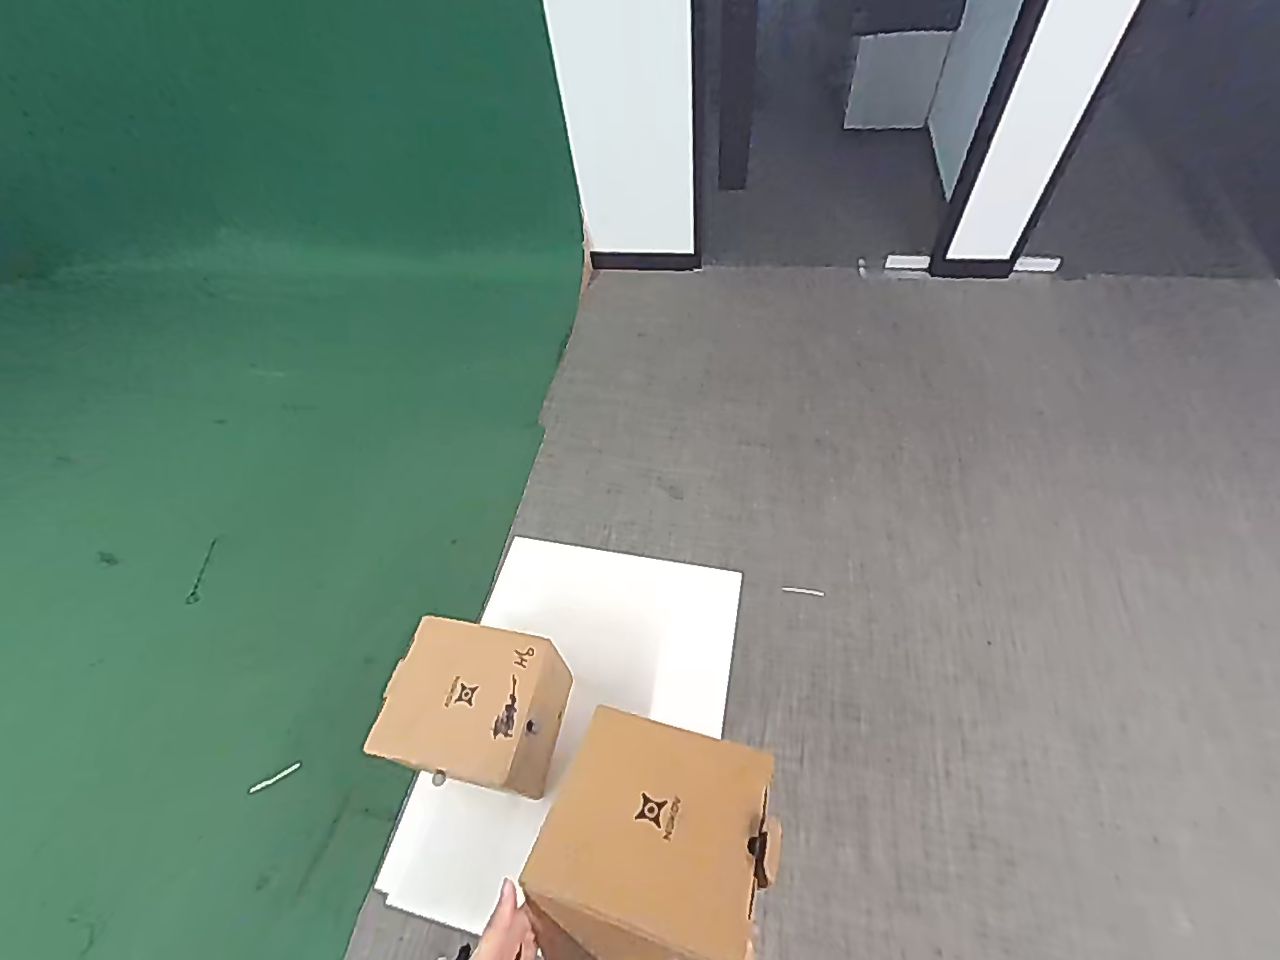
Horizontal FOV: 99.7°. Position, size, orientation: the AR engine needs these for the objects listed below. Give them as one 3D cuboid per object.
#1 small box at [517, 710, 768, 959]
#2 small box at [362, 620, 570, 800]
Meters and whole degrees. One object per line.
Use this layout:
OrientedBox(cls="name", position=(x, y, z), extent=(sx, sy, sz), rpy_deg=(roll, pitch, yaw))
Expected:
OrientedBox(cls="small box", position=(0.012, 0.352, 0.498), extent=(0.179, 0.176, 0.168), rpy_deg=(9, 33, 16))
OrientedBox(cls="small box", position=(-0.206, 0.300, 0.698), extent=(0.179, 0.176, 0.168), rpy_deg=(7, 56, 11))
